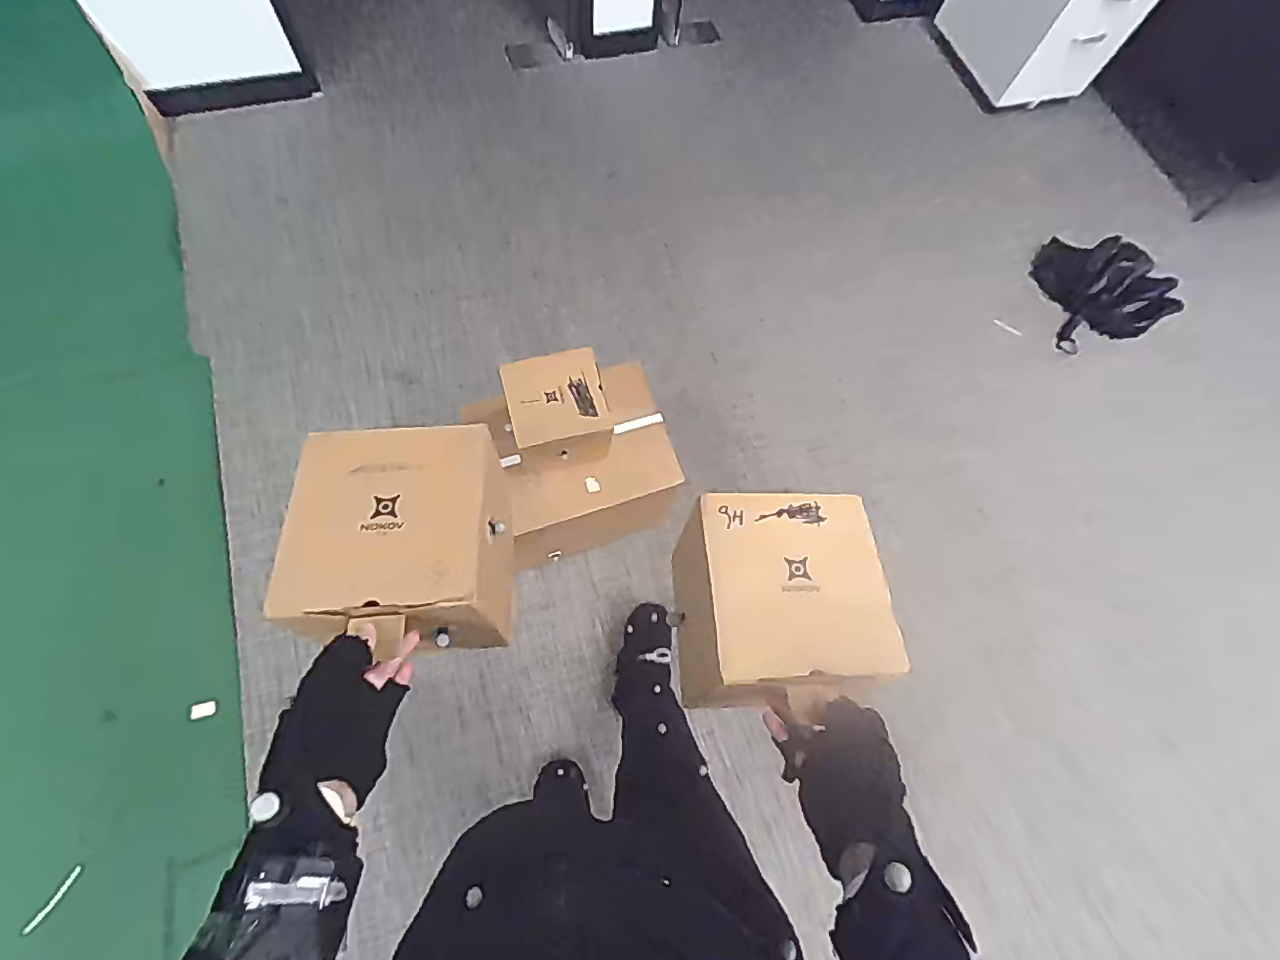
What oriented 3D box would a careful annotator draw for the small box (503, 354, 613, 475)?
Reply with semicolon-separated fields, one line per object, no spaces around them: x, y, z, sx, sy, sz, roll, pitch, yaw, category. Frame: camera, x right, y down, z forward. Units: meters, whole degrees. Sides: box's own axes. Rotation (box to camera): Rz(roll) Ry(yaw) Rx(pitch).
-0.159;-0.121;1.045;0.179;0.176;0.168;-10;74;-10;small box

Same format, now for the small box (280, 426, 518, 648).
-0.219;0.066;0.549;0.168;0.176;0.179;-3;60;-5;small box

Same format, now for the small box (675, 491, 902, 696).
0.135;0.127;0.566;0.168;0.176;0.179;2;61;-8;small box
